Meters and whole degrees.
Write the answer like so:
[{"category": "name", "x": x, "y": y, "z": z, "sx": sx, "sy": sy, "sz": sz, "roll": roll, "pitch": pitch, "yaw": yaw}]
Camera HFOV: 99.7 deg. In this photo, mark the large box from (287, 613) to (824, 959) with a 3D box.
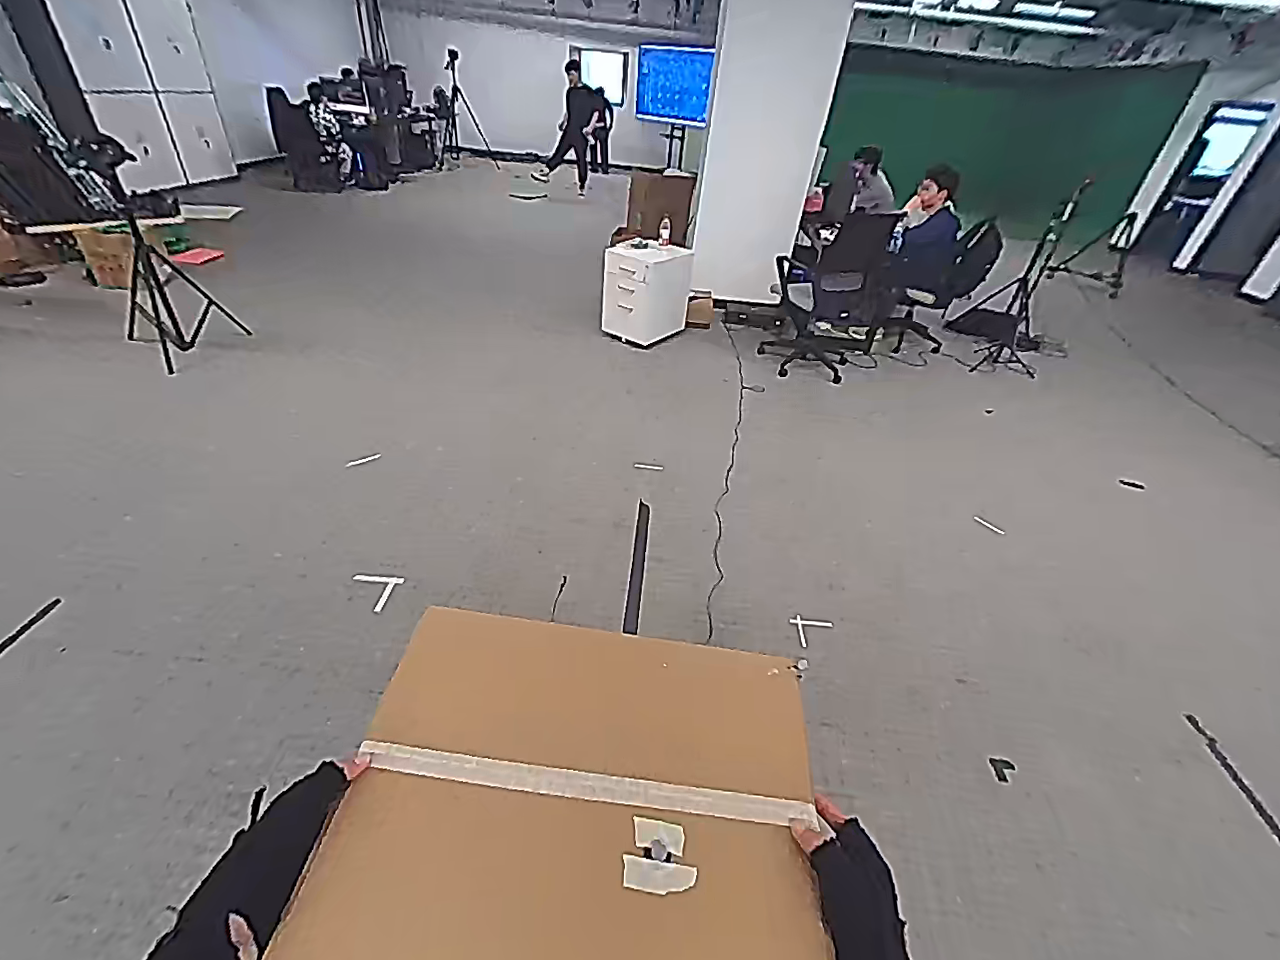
[{"category": "large box", "x": -0.062, "y": 0.384, "z": 0.590, "sx": 0.408, "sy": 0.320, "sz": 0.320, "roll": 9, "pitch": 42, "yaw": 0}]
